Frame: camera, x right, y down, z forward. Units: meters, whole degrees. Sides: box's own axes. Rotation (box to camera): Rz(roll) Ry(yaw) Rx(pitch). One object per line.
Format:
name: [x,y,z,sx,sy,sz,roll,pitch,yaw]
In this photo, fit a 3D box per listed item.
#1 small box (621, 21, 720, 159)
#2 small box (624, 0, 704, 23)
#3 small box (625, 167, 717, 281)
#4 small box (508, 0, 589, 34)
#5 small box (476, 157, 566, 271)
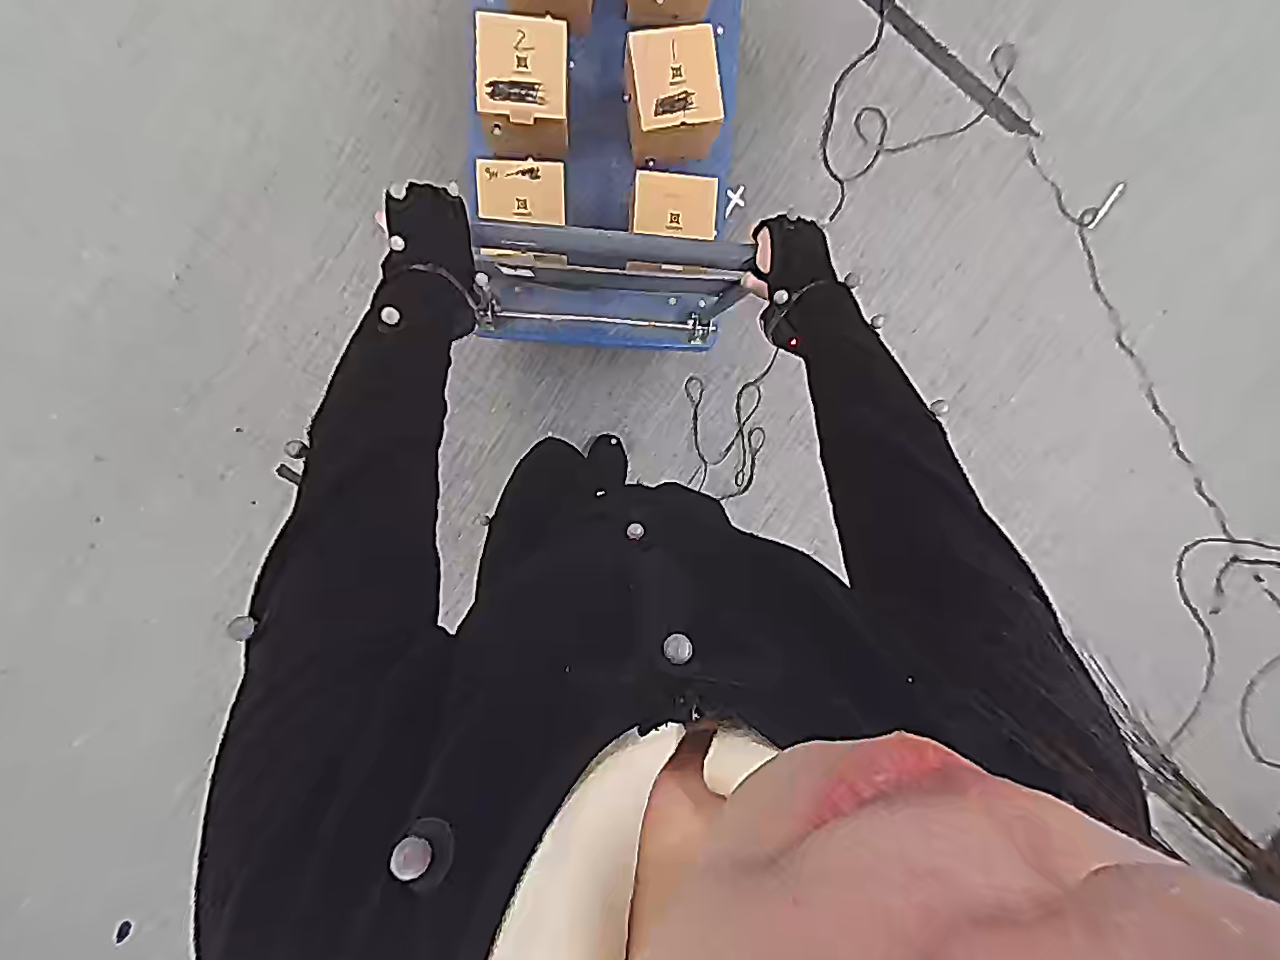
small box: [0.057,-0.788,1.114,0.168,0.176,0.179,-10,98,-5]
small box: [0.054,-1.058,1.075,0.168,0.176,0.179,-1,98,-6]
small box: [0.058,-0.533,1.152,0.168,0.176,0.179,2,97,-7]
small box: [-0.178,-1.029,1.051,0.168,0.176,0.179,4,99,-7]
small box: [-0.238,-0.537,1.117,0.168,0.176,0.179,-2,99,-7]
